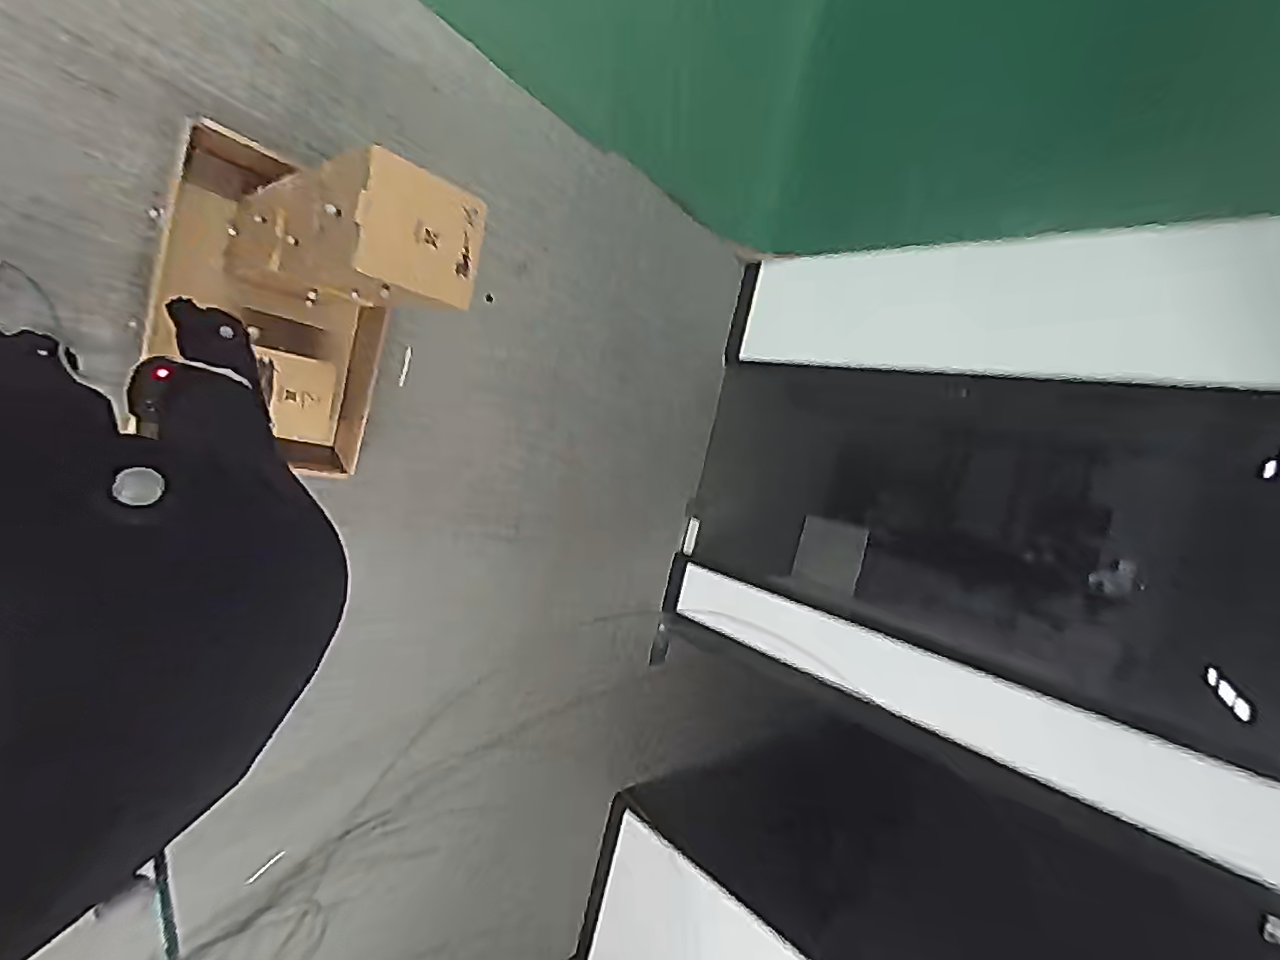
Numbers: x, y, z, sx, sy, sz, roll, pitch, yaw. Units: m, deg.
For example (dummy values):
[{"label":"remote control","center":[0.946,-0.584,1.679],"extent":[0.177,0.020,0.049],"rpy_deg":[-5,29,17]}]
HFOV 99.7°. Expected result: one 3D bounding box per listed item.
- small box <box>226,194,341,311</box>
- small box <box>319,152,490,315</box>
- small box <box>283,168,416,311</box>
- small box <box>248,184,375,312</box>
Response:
[{"label":"small box","center":[-0.730,-0.469,1.134],"extent":[0.179,0.176,0.168],"rpy_deg":[12,93,-50]},{"label":"small box","center":[-0.364,-0.361,0.827],"extent":[0.179,0.176,0.168],"rpy_deg":[8,98,-49]},{"label":"small box","center":[-0.485,-0.398,0.929],"extent":[0.179,0.176,0.168],"rpy_deg":[8,98,-50]},{"label":"small box","center":[-0.609,-0.433,1.031],"extent":[0.179,0.176,0.168],"rpy_deg":[11,95,-49]}]
